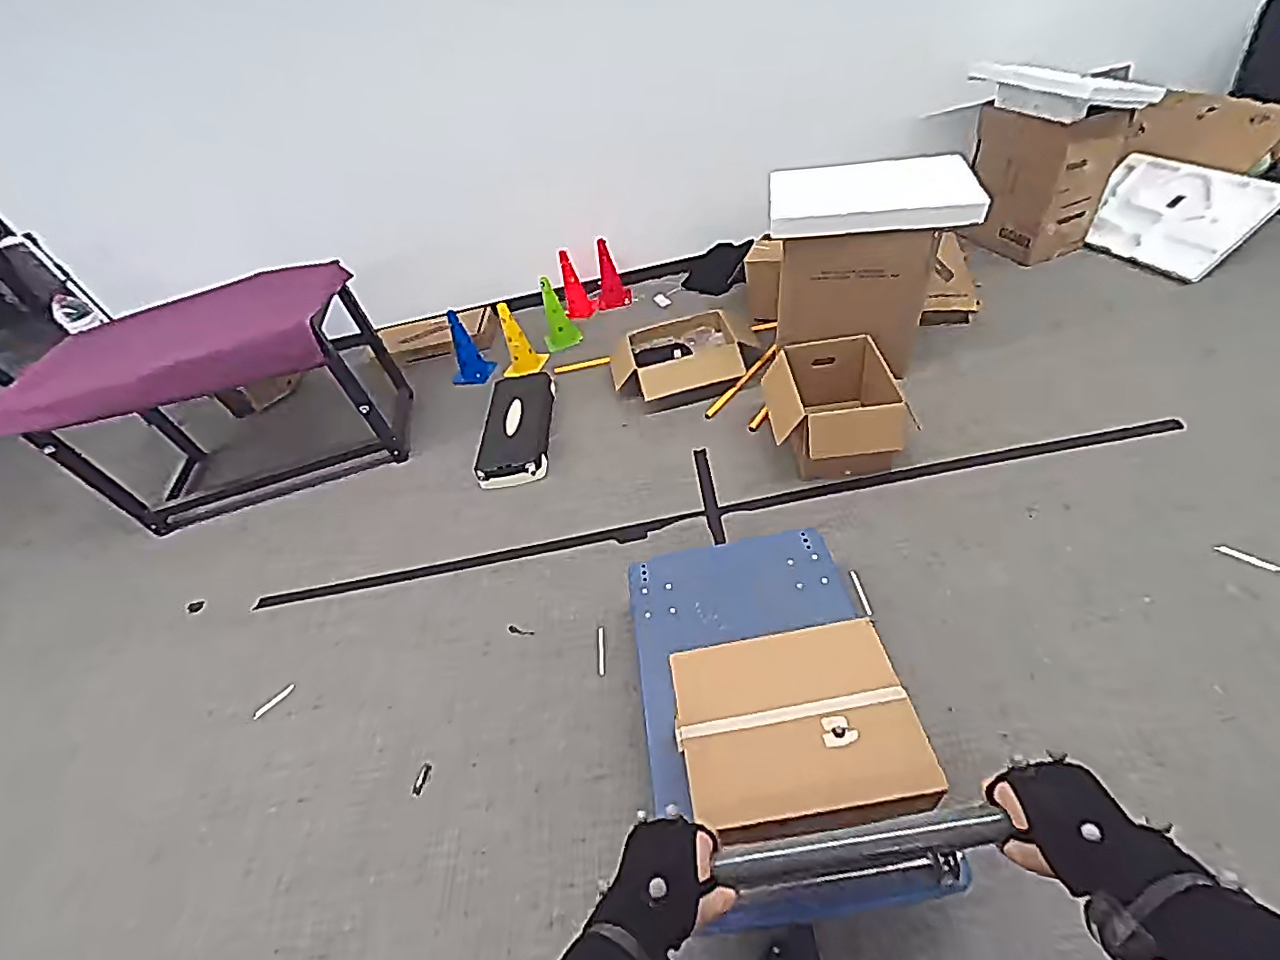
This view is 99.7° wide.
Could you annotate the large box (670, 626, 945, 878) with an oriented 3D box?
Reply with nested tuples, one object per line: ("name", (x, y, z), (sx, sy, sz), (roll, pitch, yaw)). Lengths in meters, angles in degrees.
("large box", (0.292, 0.534, 1.058), (0.408, 0.320, 0.320), (-11, 45, 2))
